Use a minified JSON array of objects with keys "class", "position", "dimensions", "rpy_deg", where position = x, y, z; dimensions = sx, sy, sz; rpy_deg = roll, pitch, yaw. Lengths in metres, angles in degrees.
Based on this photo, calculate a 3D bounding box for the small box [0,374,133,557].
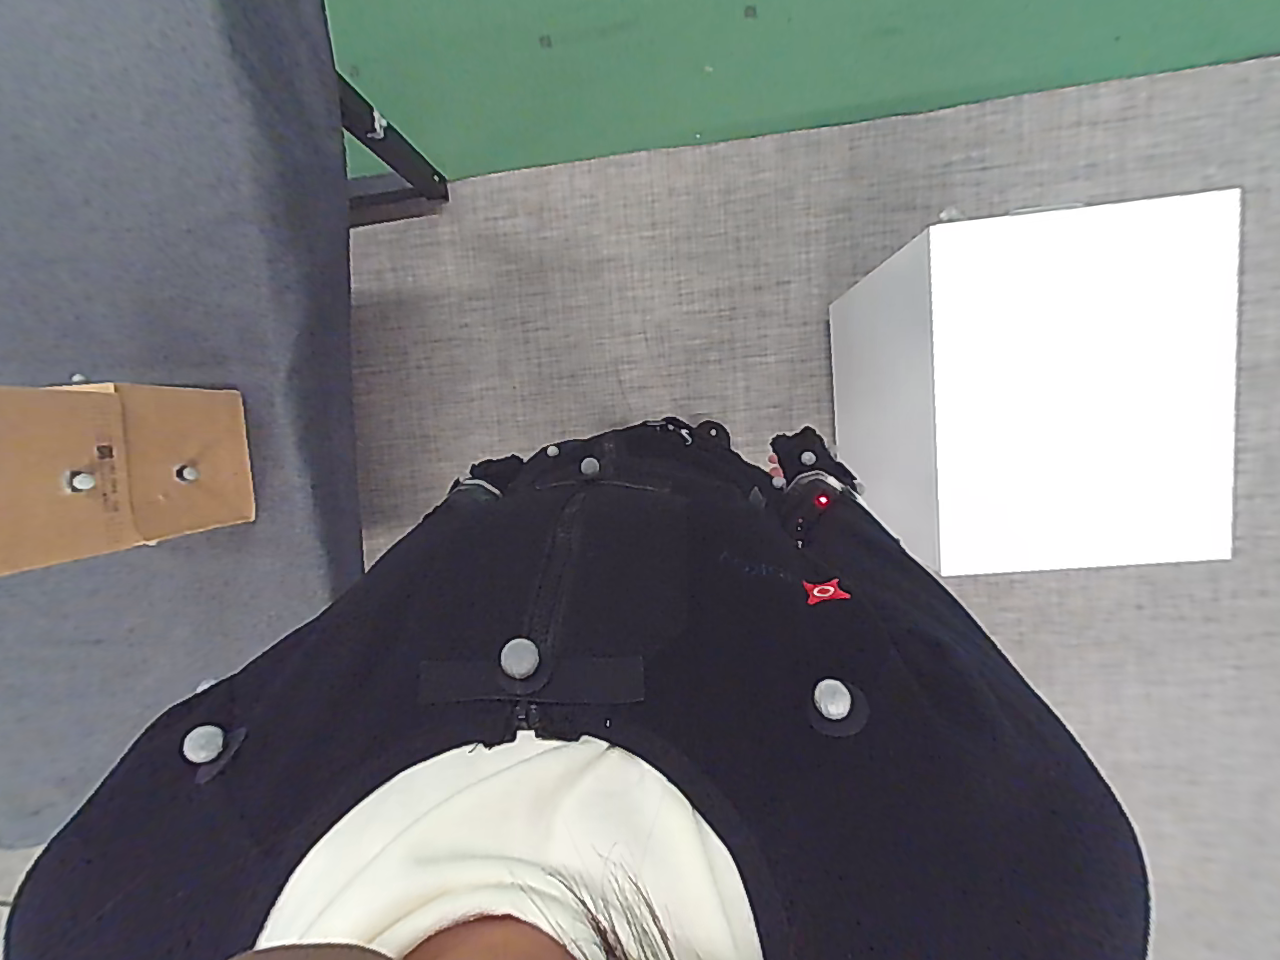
[{"class":"small box","position":[-0.642,-0.011,0.506],"dimensions":[0.179,0.176,0.168],"rpy_deg":[-2,96,8]}]

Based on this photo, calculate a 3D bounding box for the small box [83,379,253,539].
[{"class":"small box","position":[-0.620,-0.031,0.668],"dimensions":[0.168,0.176,0.179],"rpy_deg":[-2,97,6]}]
